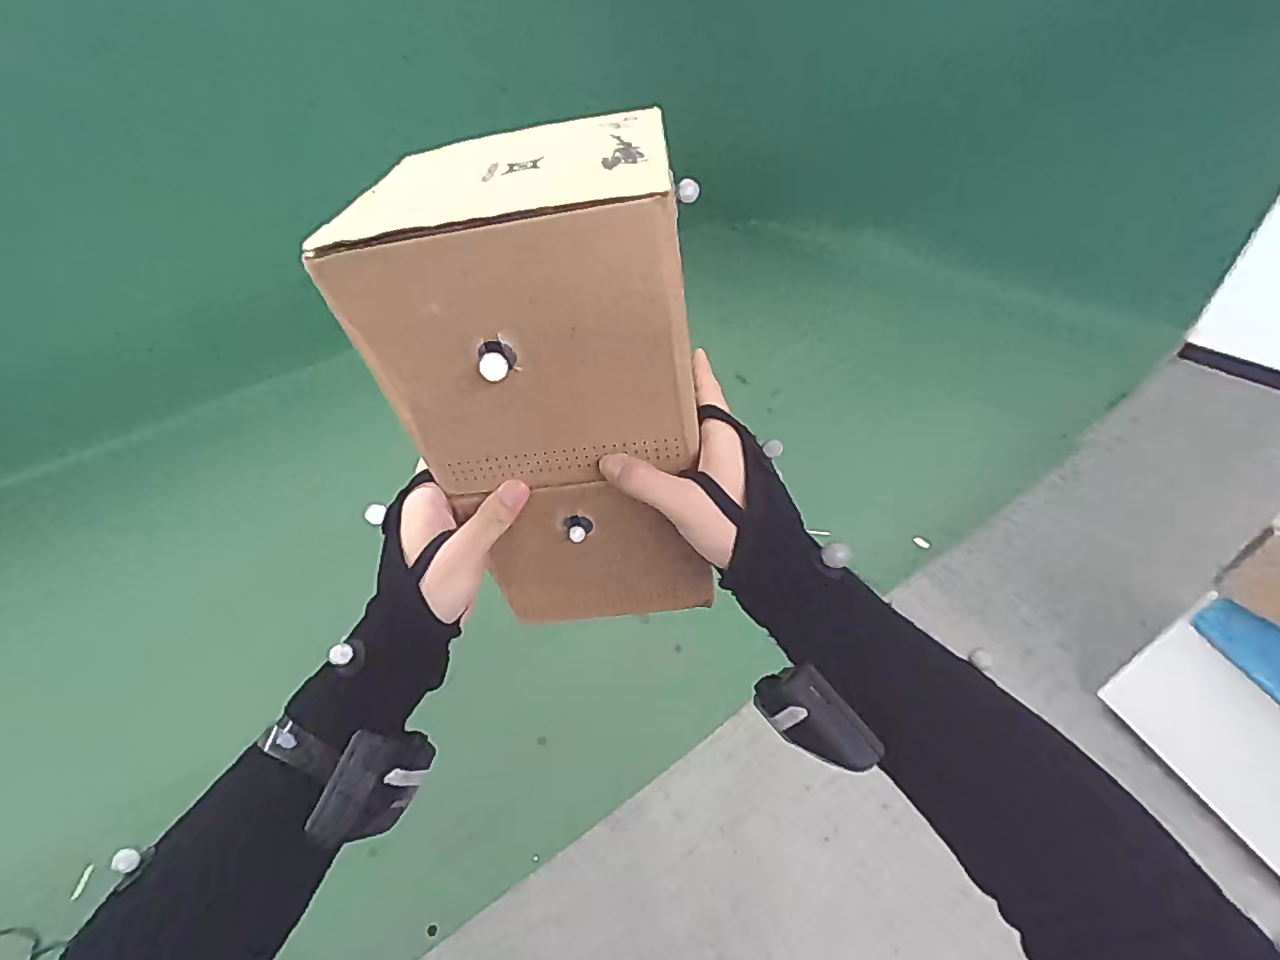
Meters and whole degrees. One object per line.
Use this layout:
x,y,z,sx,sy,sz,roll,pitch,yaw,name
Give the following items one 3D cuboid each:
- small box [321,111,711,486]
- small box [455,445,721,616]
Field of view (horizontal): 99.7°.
-0.053,-0.111,0.356,0.179,0.176,0.168,-7,45,7,small box
-0.028,0.004,0.469,0.179,0.176,0.168,-6,44,6,small box
